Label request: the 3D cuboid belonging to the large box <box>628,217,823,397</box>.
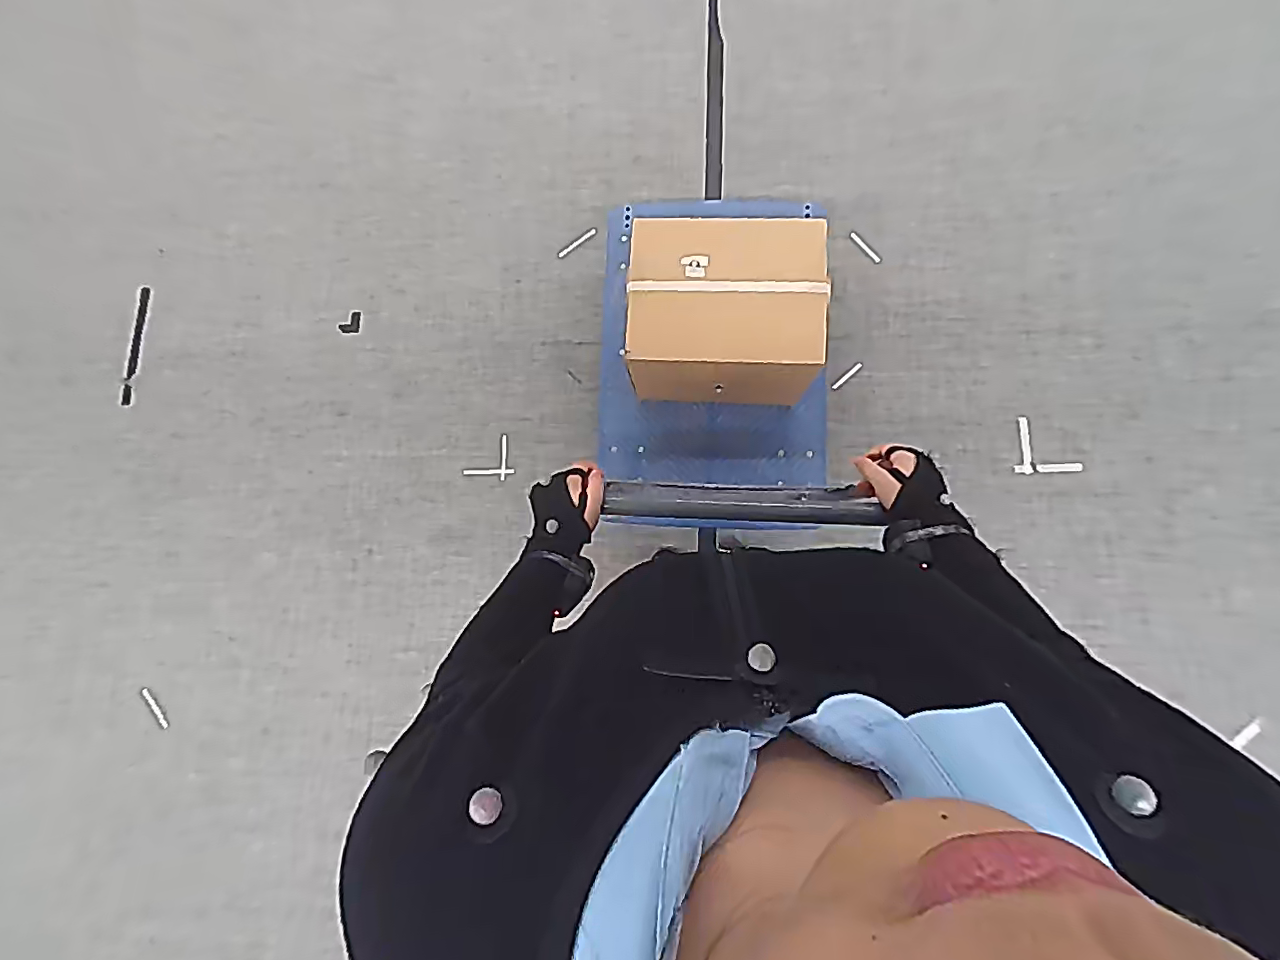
[{"bbox_3d":[0.194,-0.382,1.275,0.408,0.320,0.320,2,82,6],"label":"large box"}]
